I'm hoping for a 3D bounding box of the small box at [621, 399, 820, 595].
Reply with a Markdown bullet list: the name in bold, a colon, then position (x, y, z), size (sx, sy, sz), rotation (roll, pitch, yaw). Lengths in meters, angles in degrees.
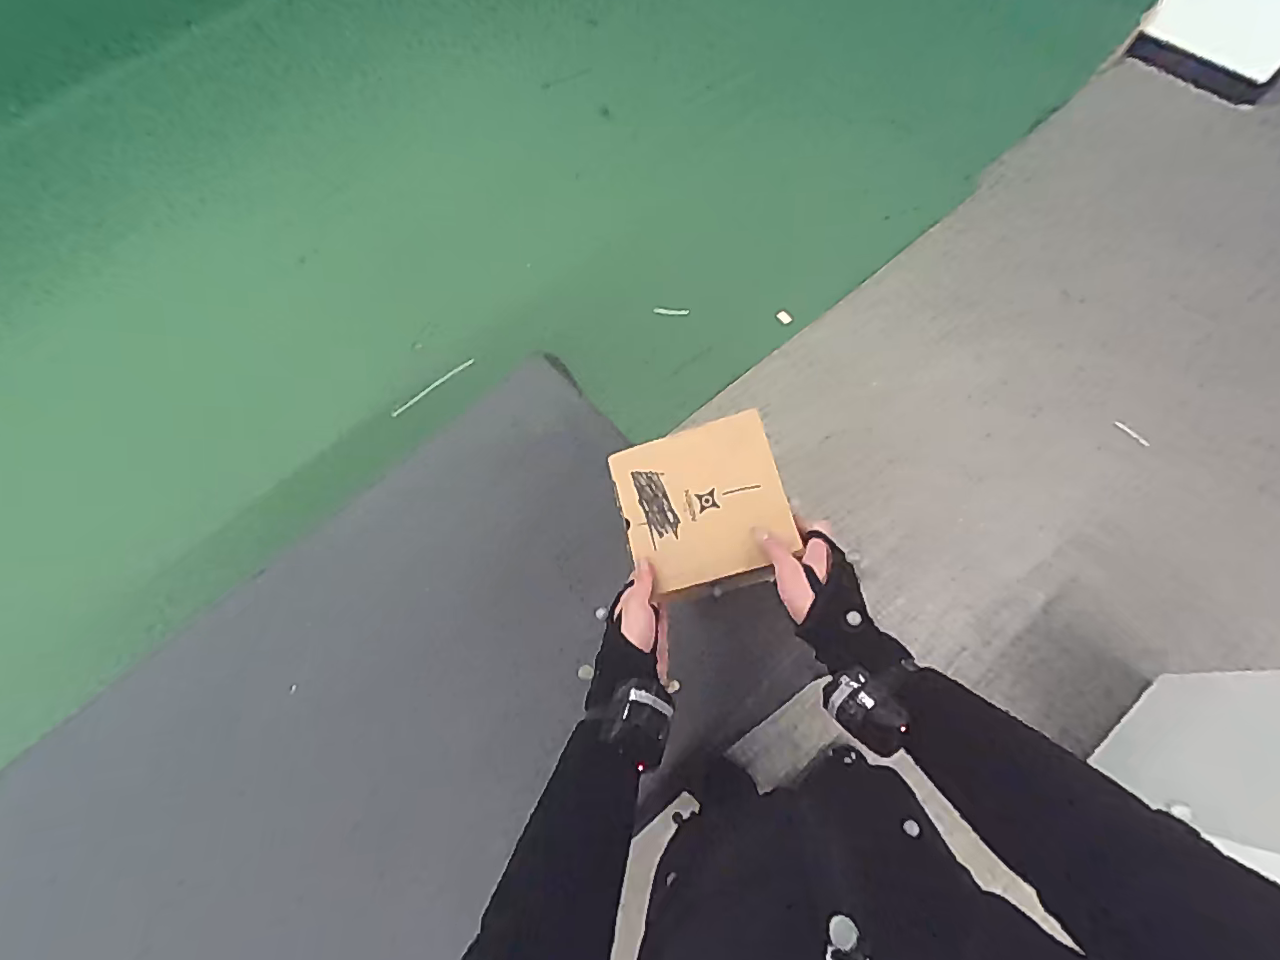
- **small box**: position (0.095, 0.033, 0.628), size (0.179, 0.176, 0.168), rotation (-16, 72, 8)
